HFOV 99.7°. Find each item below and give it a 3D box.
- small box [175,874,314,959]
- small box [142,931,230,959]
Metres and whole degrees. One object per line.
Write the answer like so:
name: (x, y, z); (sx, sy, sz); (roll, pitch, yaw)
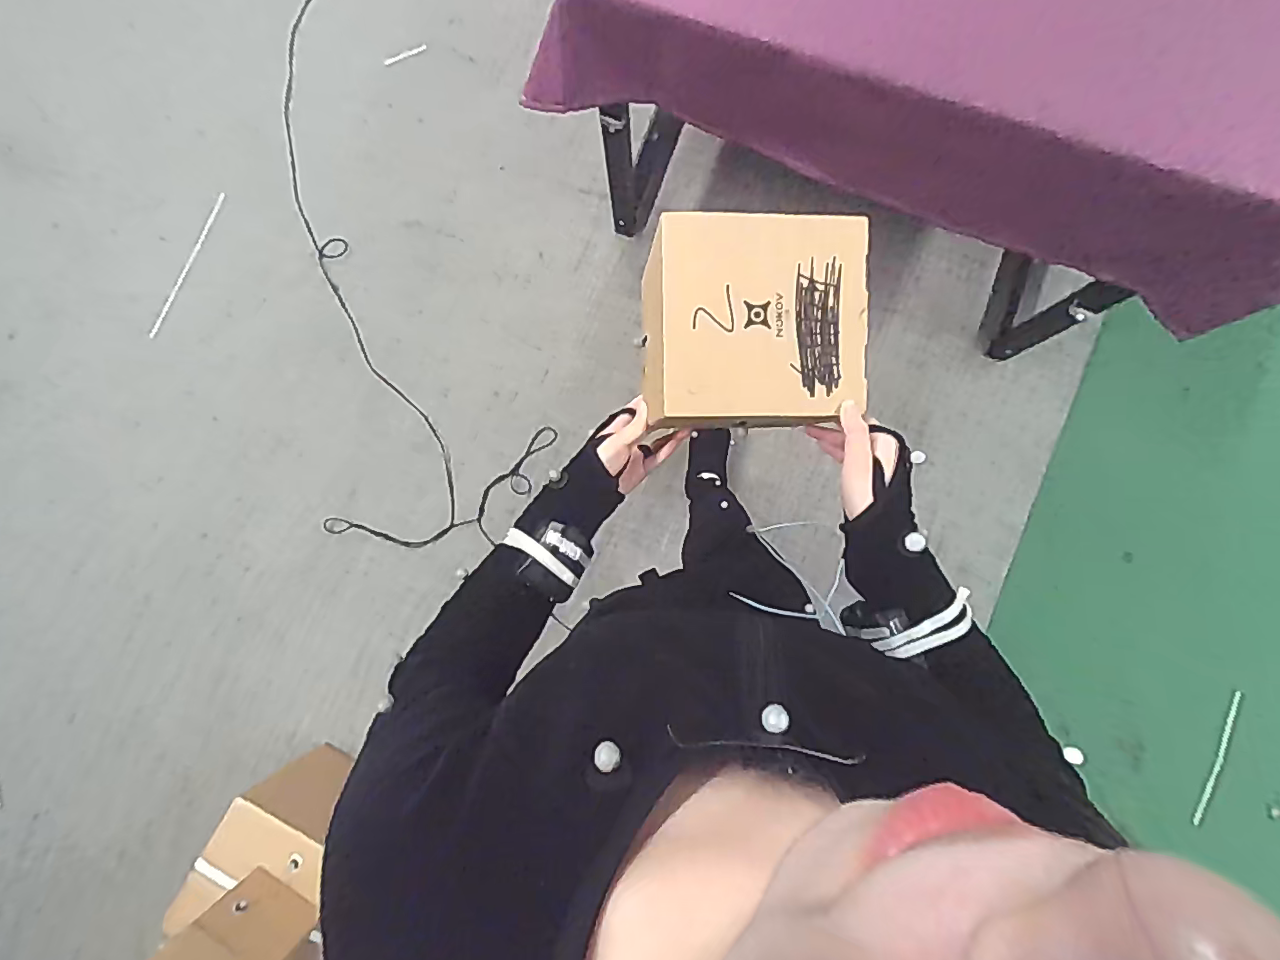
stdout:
small box: (-0.786, 0.914, 1.041); (0.179, 0.176, 0.168); (32, 88, 4)
small box: (-0.792, 0.897, 0.878); (0.179, 0.176, 0.168); (33, 88, 4)
